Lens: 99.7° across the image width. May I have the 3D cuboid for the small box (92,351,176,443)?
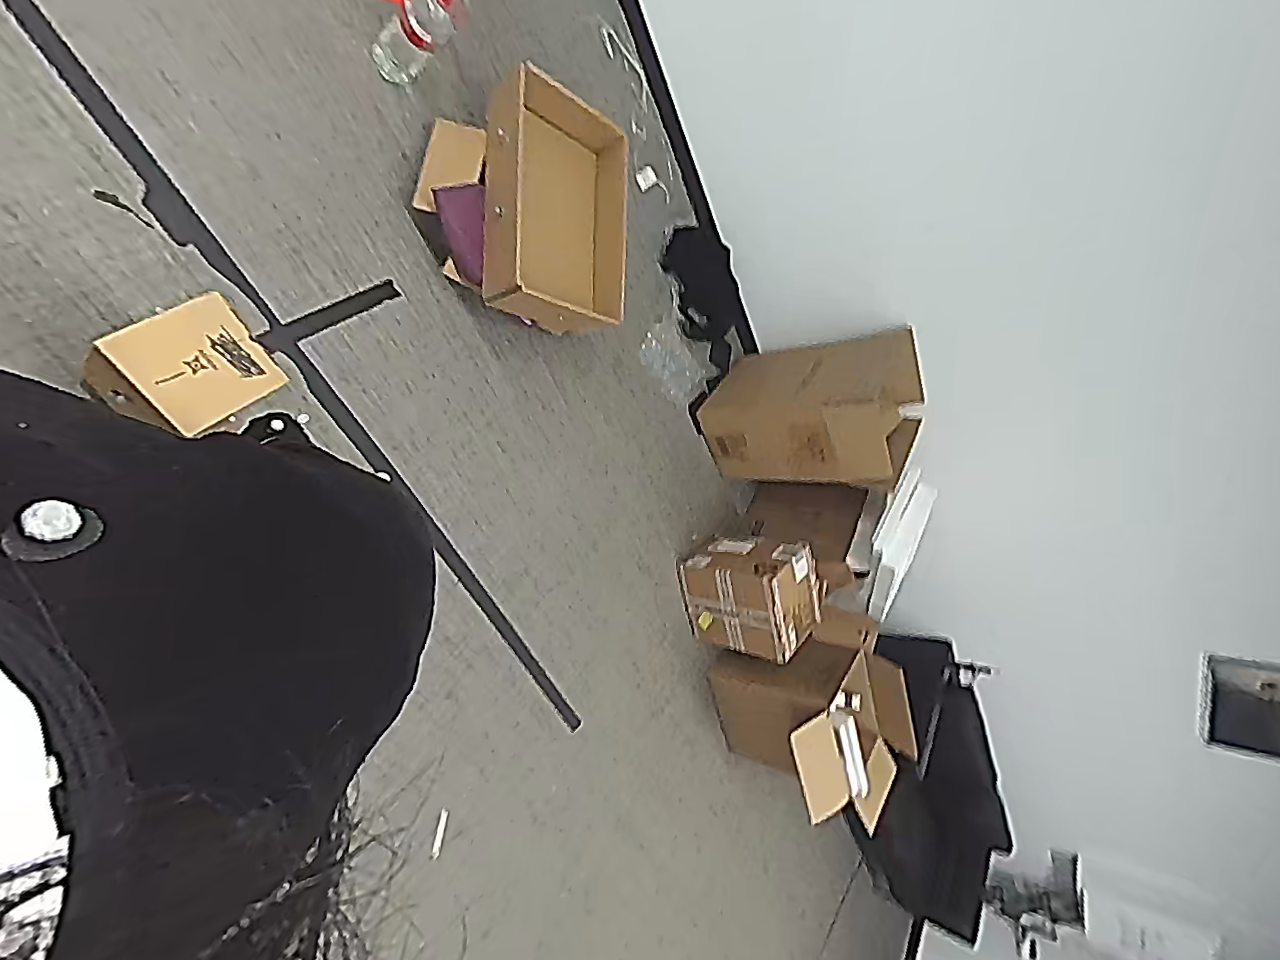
[{"bbox_3d":[-0.848,-0.183,0.994,0.179,0.176,0.168,-50,124,-36],"label":"small box"}]

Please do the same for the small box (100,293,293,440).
[{"bbox_3d":[-0.725,-0.180,0.884,0.179,0.176,0.168,-49,123,-35],"label":"small box"}]
